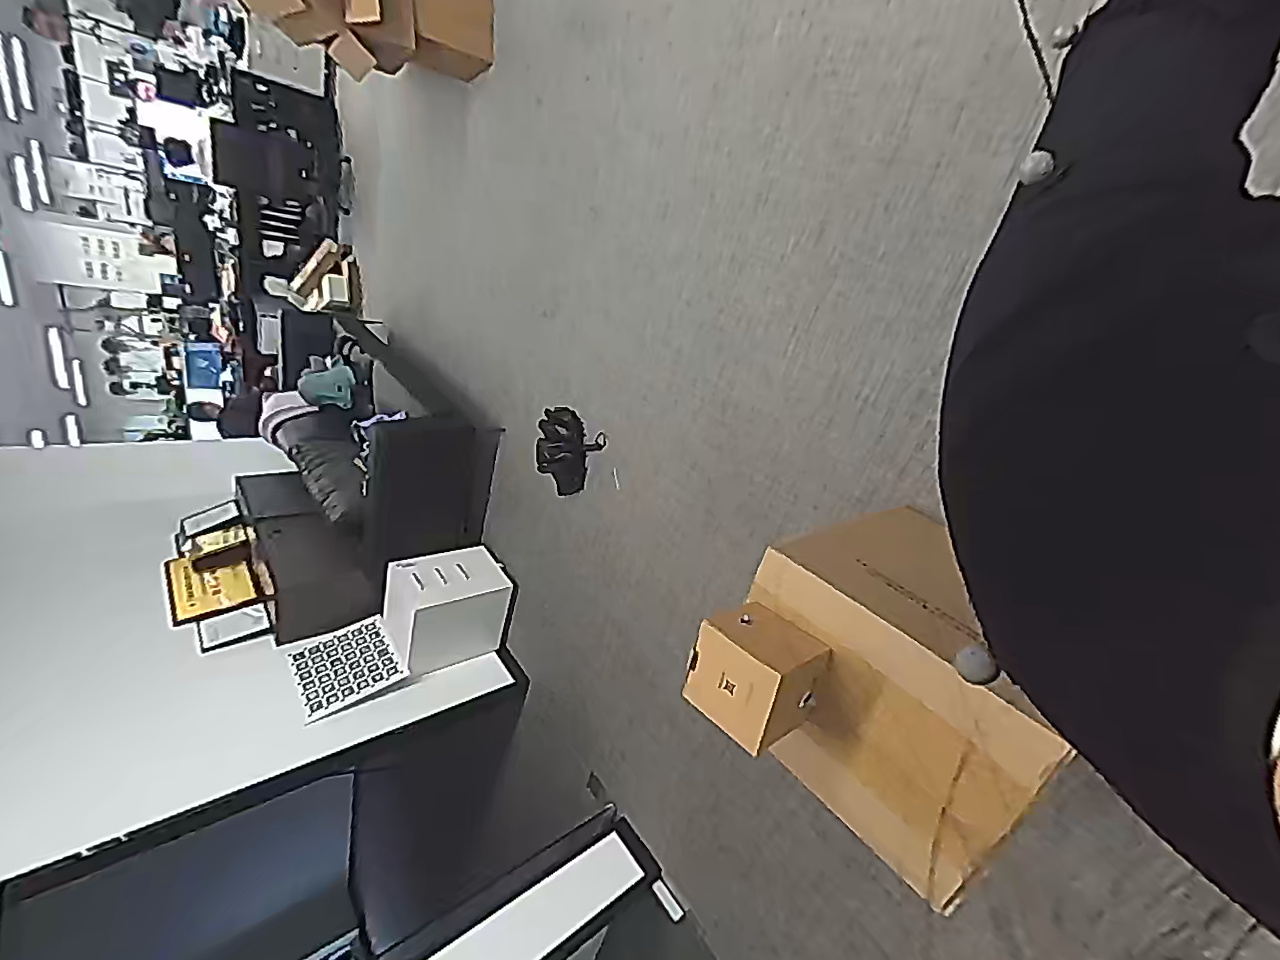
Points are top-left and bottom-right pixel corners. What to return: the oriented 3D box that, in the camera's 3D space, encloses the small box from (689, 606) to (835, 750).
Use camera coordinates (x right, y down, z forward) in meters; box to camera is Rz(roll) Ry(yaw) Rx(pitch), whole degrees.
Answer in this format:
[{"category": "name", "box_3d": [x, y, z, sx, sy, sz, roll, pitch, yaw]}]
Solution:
[{"category": "small box", "box_3d": [0.222, 0.347, 0.992, 0.179, 0.176, 0.168, 26, 112, 43]}]
